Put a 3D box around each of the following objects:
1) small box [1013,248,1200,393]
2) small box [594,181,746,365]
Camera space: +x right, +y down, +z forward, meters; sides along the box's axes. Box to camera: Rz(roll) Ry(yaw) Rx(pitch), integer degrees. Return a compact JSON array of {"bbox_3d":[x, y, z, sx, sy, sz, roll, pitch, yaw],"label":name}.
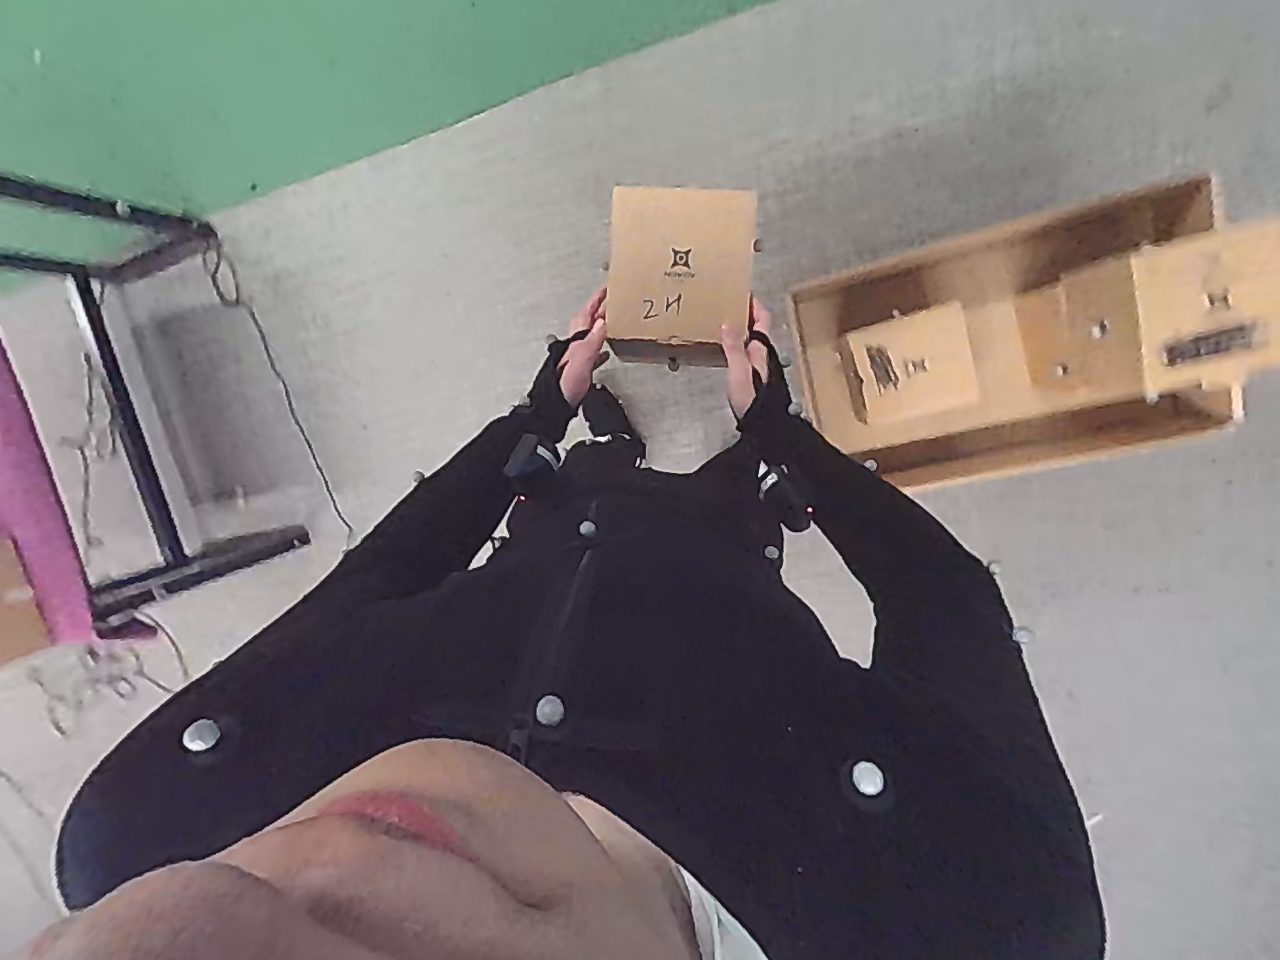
[{"bbox_3d":[0.748,-0.251,0.888,0.168,0.176,0.179,-15,99,15],"label":"small box"},{"bbox_3d":[0.038,-0.251,0.689,0.168,0.176,0.179,3,94,5],"label":"small box"}]
